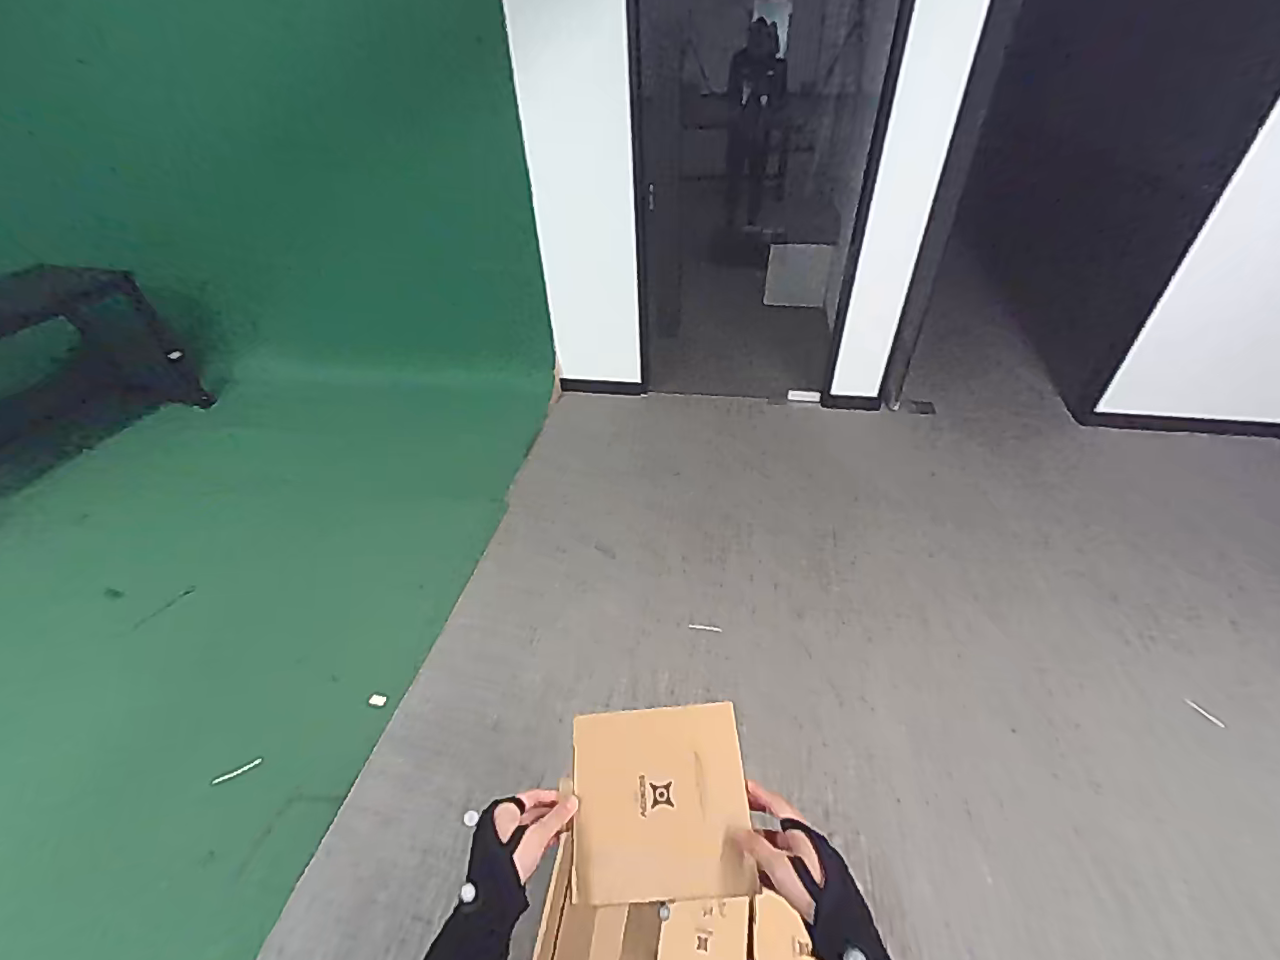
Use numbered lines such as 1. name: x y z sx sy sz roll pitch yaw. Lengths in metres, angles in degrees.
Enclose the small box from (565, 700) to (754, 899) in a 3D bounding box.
1. small box: 0.024 0.356 0.598 0.179 0.176 0.168 -5 52 3
